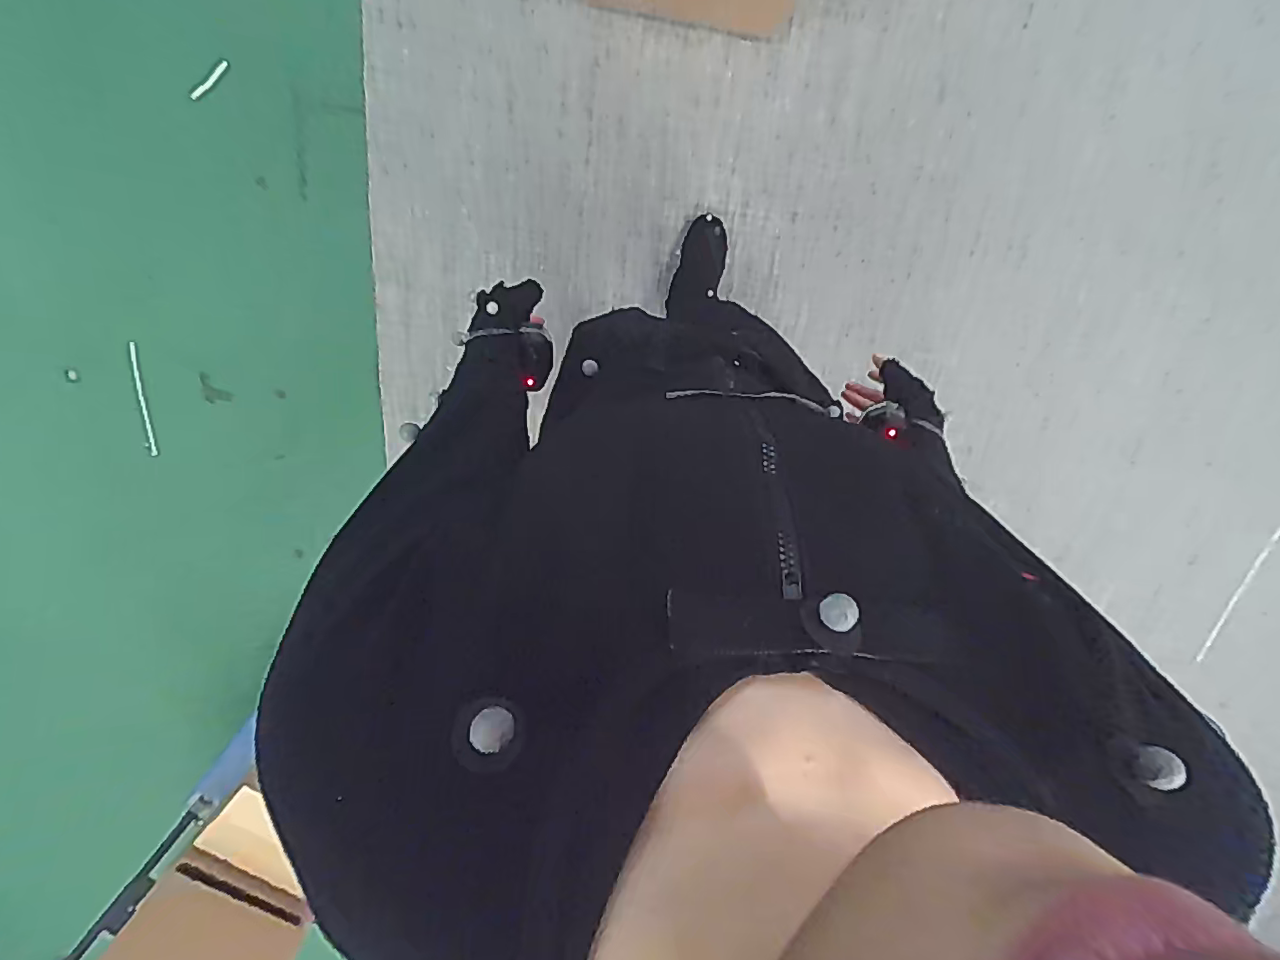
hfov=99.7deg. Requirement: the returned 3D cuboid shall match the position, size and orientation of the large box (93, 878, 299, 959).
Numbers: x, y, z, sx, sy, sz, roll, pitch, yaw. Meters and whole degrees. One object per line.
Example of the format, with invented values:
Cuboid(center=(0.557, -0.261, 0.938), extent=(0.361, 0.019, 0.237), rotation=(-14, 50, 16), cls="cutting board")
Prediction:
Cuboid(center=(-1.177, 1.301, 1.354), extent=(0.408, 0.320, 0.320), rotation=(38, 113, -11), cls="large box")
